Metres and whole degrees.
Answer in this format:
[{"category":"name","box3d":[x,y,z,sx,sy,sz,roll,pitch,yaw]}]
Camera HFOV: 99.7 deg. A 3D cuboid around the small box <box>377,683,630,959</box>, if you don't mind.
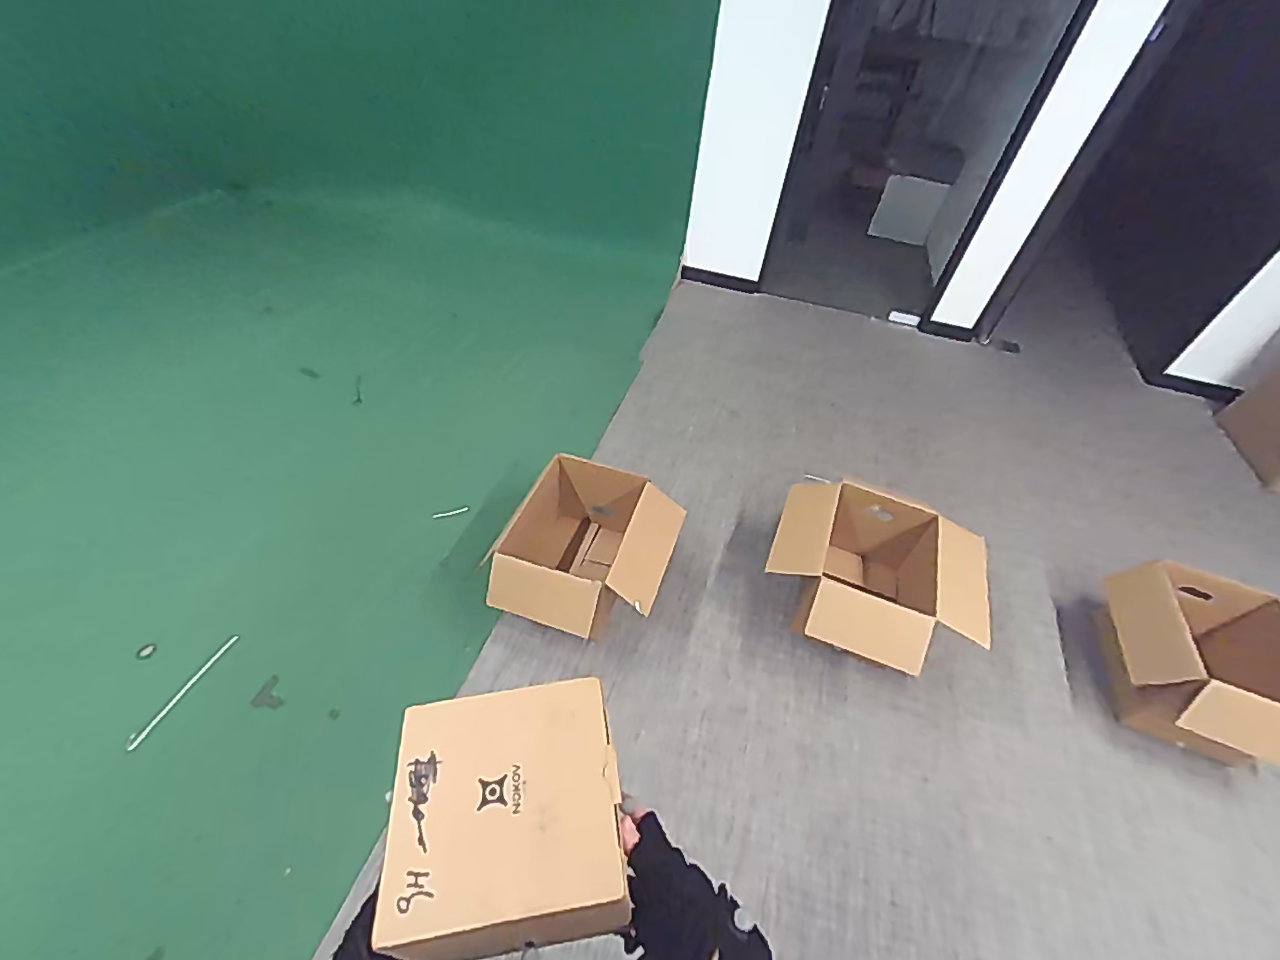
[{"category":"small box","box3d":[-0.106,0.307,0.488,0.179,0.176,0.168,-6,44,-6]}]
